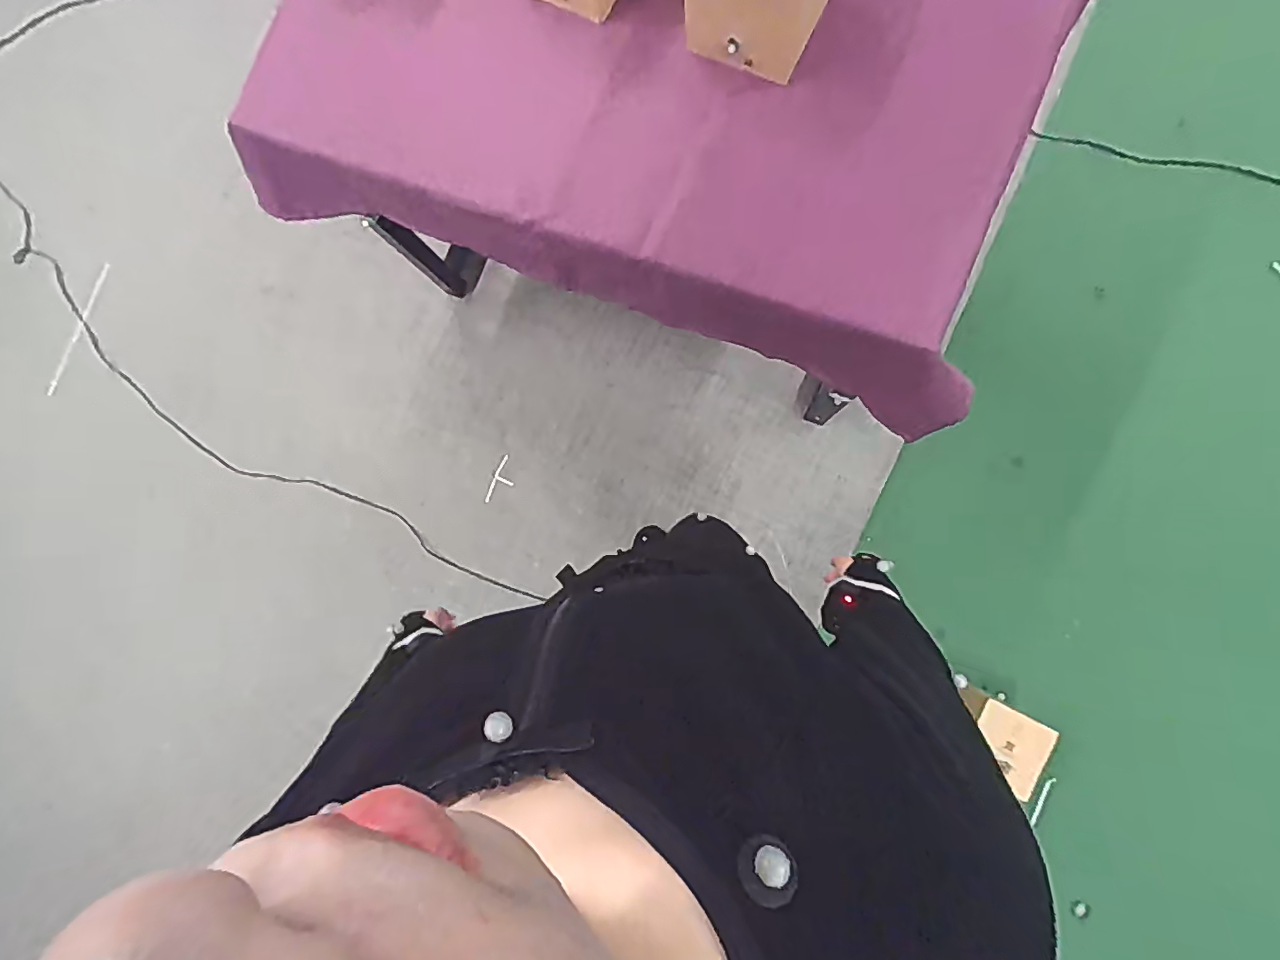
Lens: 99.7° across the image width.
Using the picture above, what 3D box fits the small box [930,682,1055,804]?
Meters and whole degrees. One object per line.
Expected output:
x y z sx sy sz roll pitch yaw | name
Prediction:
0.831 0.619 1.298 0.168 0.176 0.179 27 88 8 | small box

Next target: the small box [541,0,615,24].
-0.098 -0.836 0.786 0.168 0.176 0.179 29 91 8 | small box
